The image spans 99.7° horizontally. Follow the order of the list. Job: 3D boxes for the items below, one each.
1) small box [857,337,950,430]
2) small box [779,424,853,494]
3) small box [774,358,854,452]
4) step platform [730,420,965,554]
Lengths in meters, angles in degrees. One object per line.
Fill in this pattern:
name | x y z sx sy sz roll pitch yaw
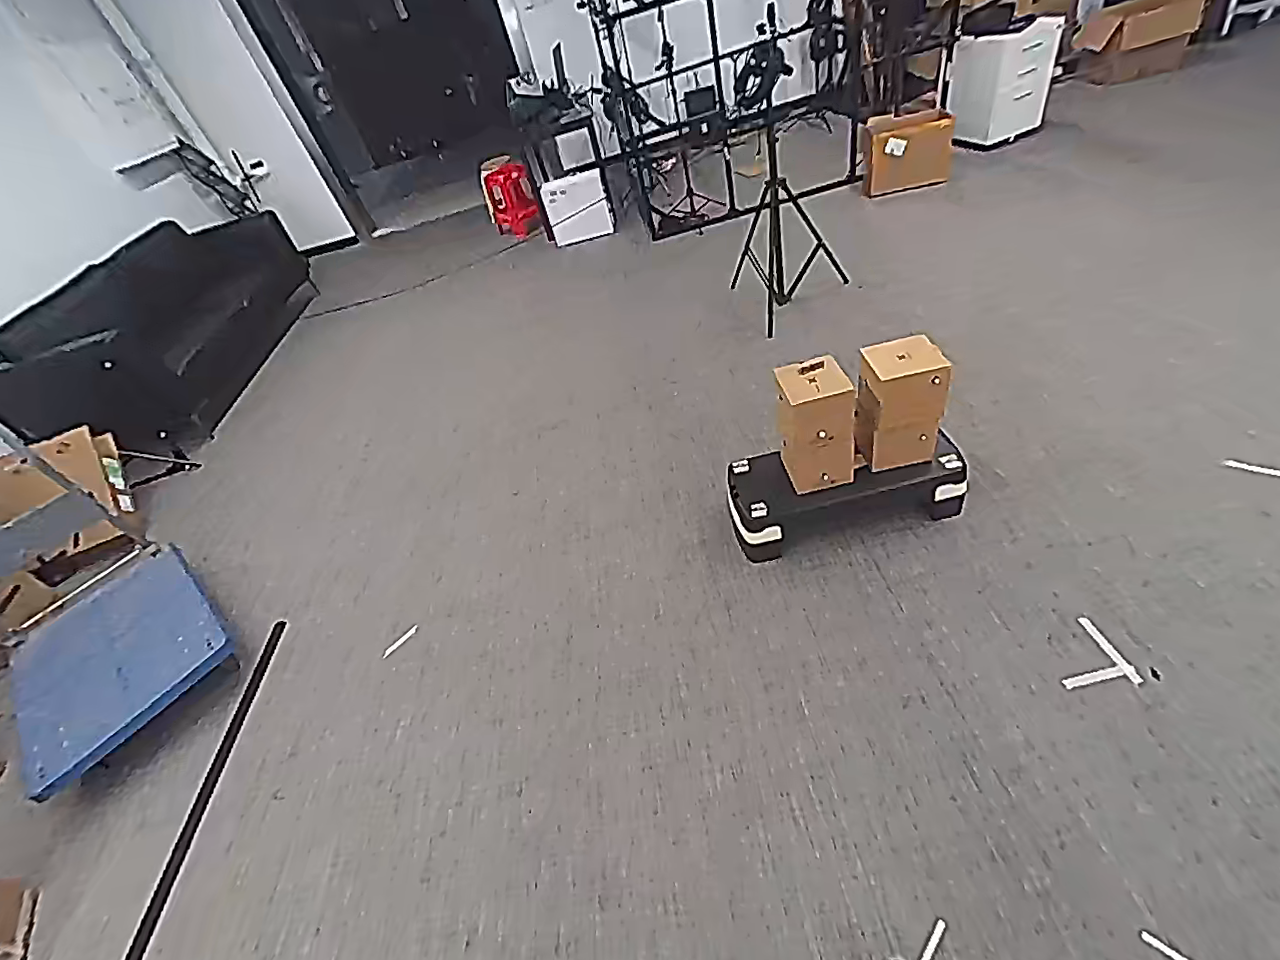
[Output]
small box | 0.704 -0.257 1.464 0.179 0.176 0.168 -12 42 6
small box | 0.514 -0.086 1.594 0.168 0.176 0.179 -14 42 6
small box | 0.473 -0.204 1.487 0.168 0.176 0.179 -14 42 5
step platform | 0.633 0.004 1.716 0.684 0.204 0.286 -15 42 5
